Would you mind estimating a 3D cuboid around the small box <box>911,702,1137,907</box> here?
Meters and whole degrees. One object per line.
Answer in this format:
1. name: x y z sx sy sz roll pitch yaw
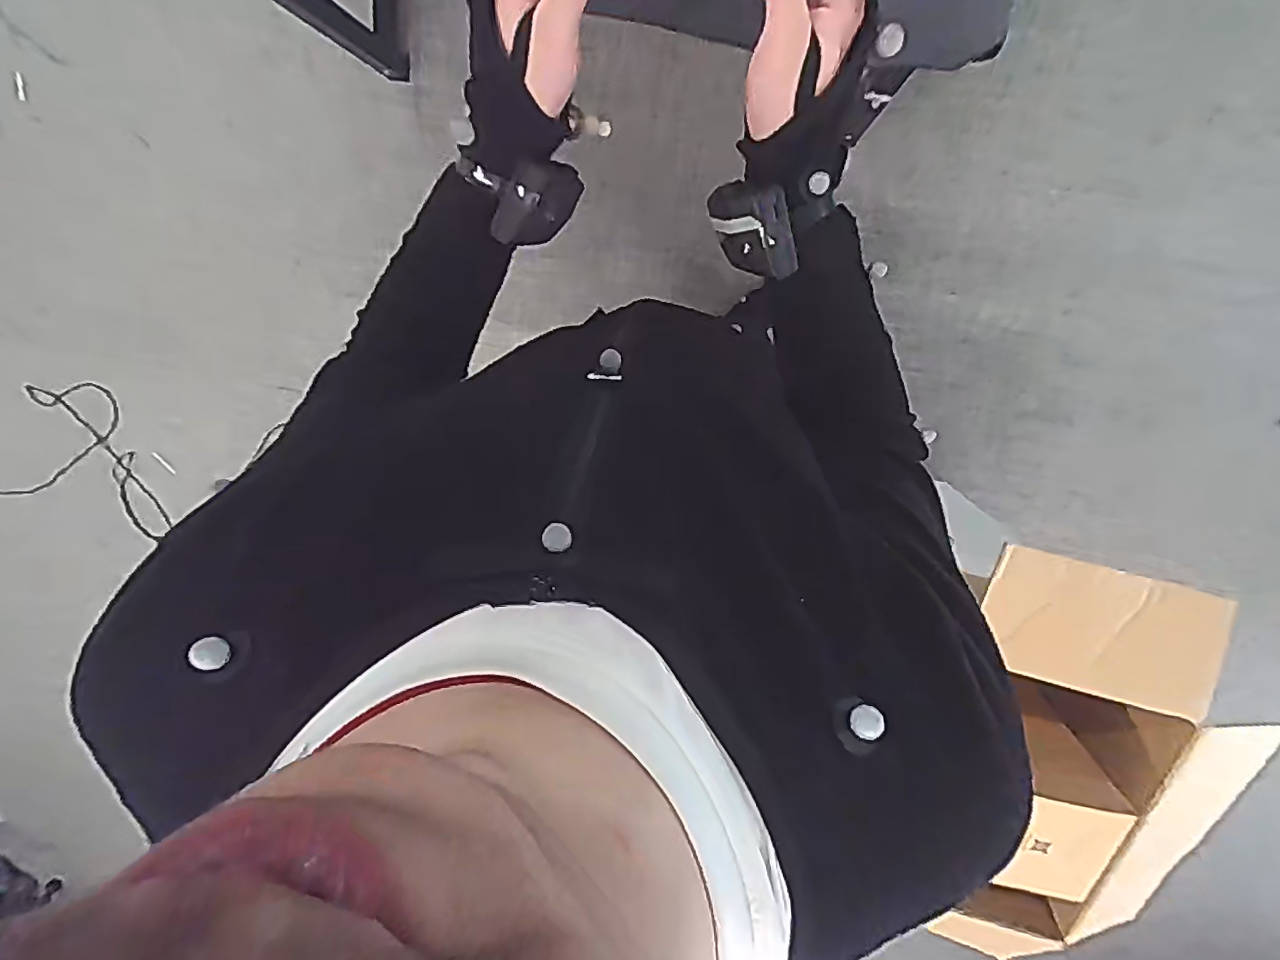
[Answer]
1. small box: 0.512 0.441 0.757 0.179 0.176 0.168 9 111 4
